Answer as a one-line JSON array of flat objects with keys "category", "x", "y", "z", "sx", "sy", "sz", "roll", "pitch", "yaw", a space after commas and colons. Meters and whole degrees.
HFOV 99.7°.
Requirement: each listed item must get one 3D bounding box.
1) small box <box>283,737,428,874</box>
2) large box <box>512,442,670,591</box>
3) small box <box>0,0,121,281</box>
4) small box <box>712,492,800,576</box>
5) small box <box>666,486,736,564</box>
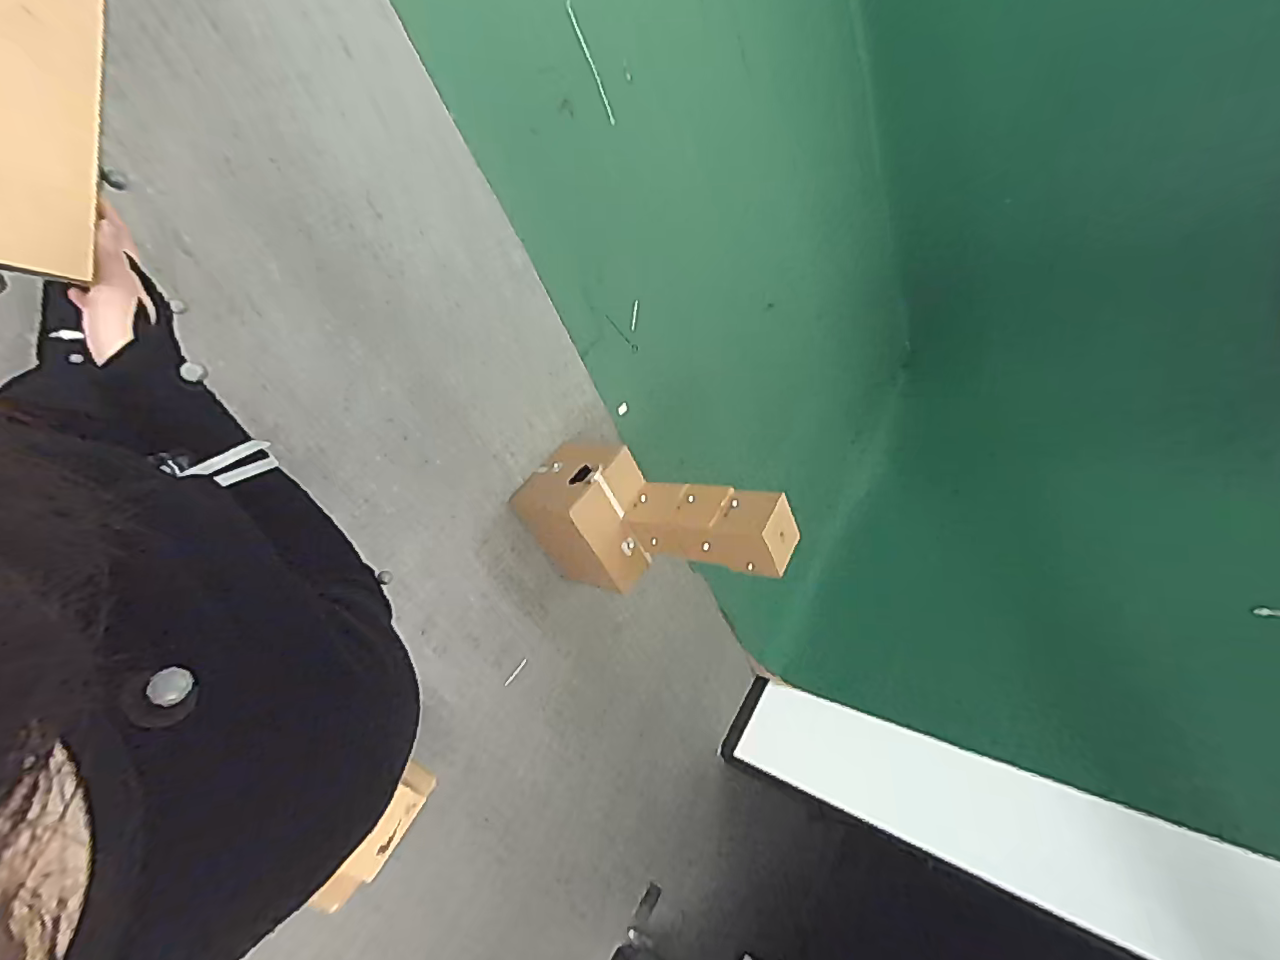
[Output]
[{"category": "small box", "x": -0.585, "y": 0.657, "z": 1.110, "sx": 0.168, "sy": 0.176, "sz": 0.179, "roll": -55, "pitch": 130, "yaw": -30}, {"category": "large box", "x": -0.158, "y": 0.116, "z": 1.860, "sx": 0.320, "sy": 0.320, "sz": 0.408, "roll": -52, "pitch": 129, "yaw": -31}, {"category": "small box", "x": -0.437, "y": -0.227, "z": 0.322, "sx": 0.179, "sy": 0.176, "sz": 0.168, "roll": 2, "pitch": 102, "yaw": -46}, {"category": "small box", "x": 0.334, "y": 0.147, "z": 1.553, "sx": 0.168, "sy": 0.176, "sz": 0.179, "roll": -52, "pitch": 128, "yaw": -34}, {"category": "small box", "x": 0.210, "y": 0.132, "z": 1.659, "sx": 0.168, "sy": 0.176, "sz": 0.179, "roll": -54, "pitch": 129, "yaw": -32}]
